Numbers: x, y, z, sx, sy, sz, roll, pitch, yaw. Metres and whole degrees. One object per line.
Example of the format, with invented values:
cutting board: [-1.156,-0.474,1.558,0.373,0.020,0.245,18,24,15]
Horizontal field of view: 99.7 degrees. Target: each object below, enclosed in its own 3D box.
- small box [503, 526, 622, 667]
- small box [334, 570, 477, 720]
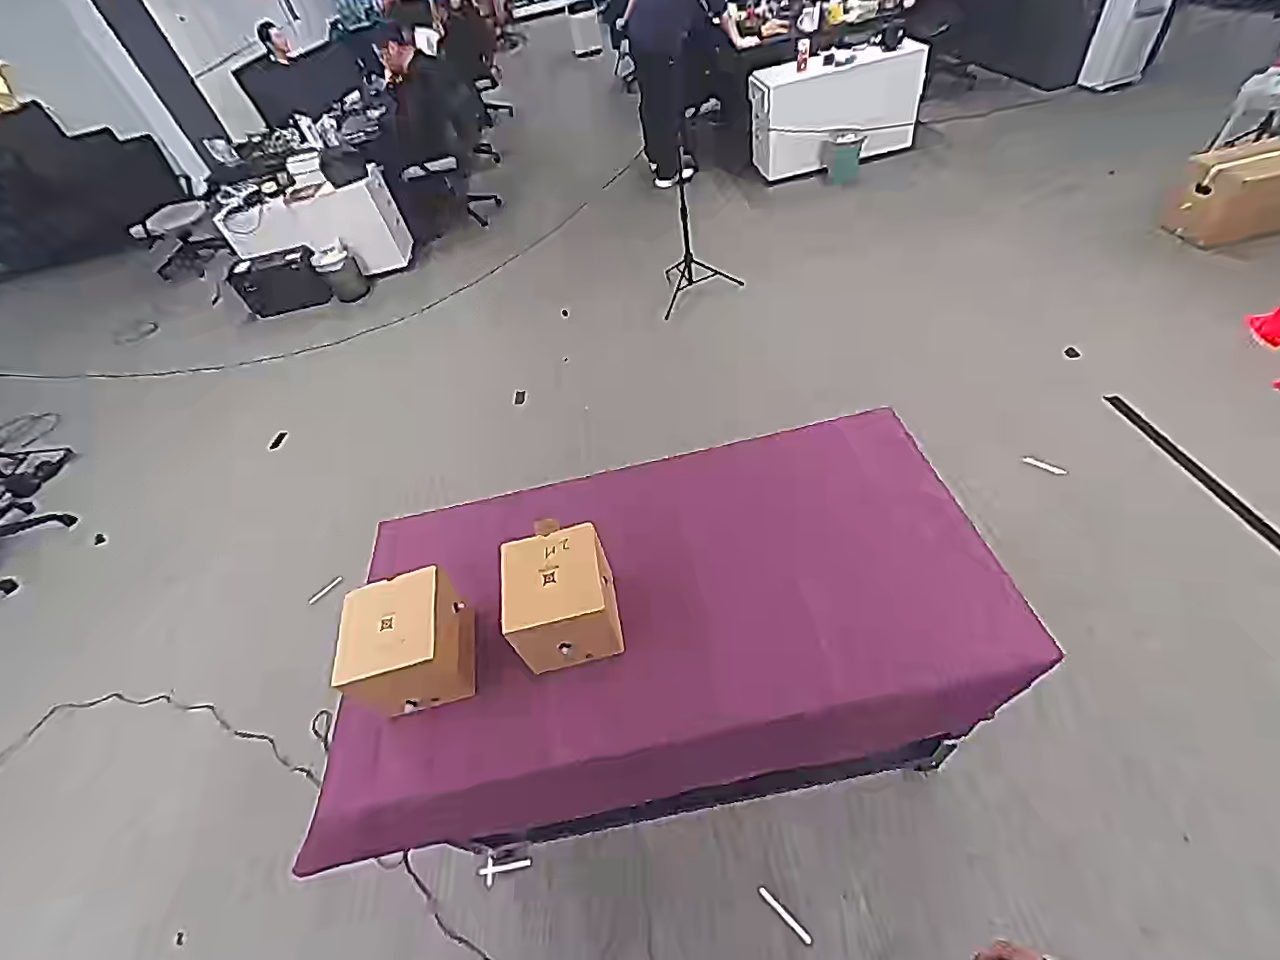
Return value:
small box: [-0.134,0.214,0.959,0.168,0.176,0.179,-14,48,0]
small box: [-0.398,0.291,0.950,0.168,0.176,0.179,-16,48,-1]
